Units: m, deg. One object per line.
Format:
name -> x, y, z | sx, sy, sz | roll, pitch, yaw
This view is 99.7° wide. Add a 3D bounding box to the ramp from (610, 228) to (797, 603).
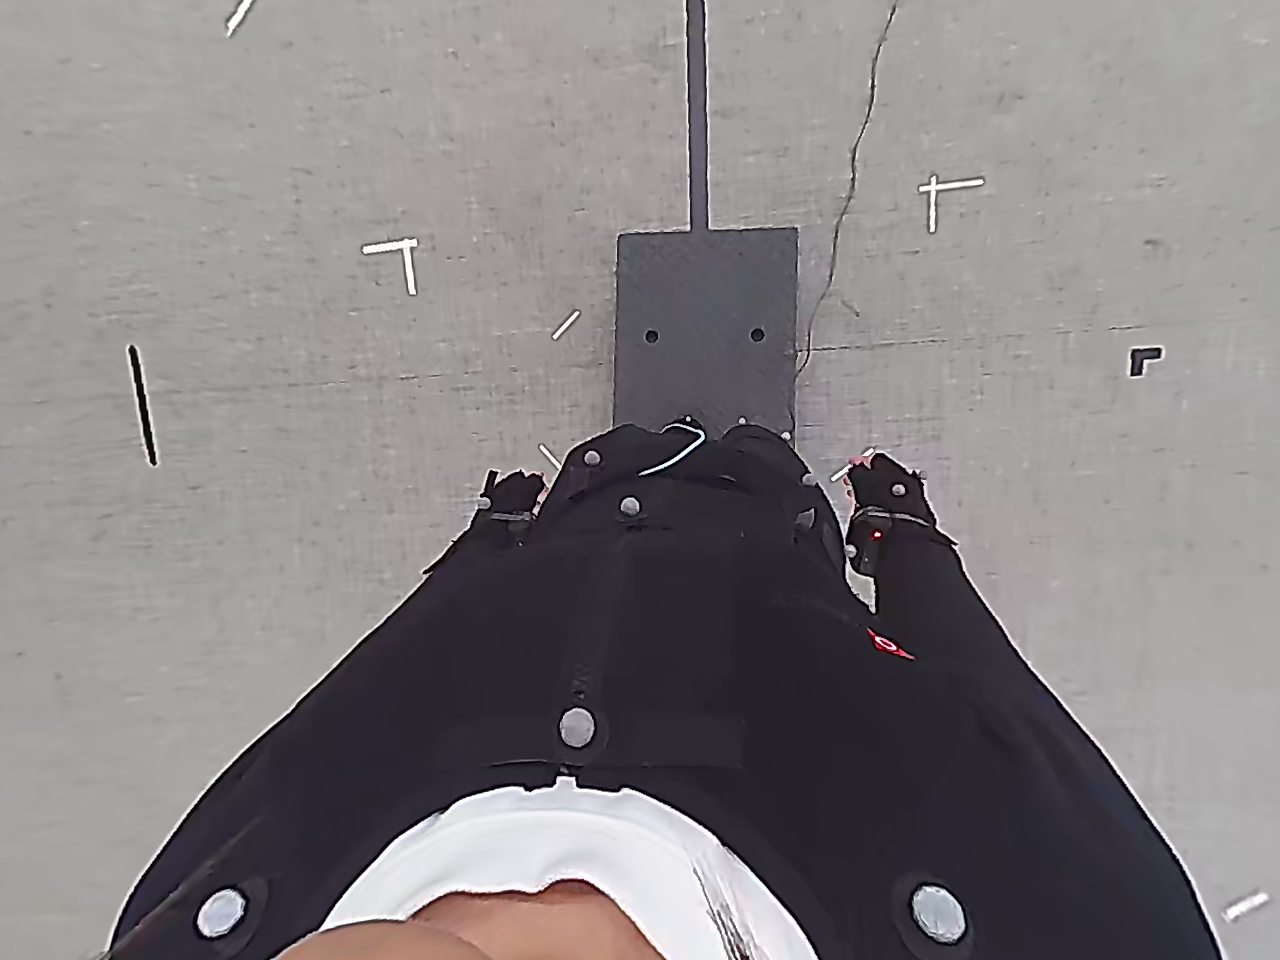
ramp -> 0.168, -0.180, 1.458 | 0.509, 0.206, 0.991 | -1, 97, 9
